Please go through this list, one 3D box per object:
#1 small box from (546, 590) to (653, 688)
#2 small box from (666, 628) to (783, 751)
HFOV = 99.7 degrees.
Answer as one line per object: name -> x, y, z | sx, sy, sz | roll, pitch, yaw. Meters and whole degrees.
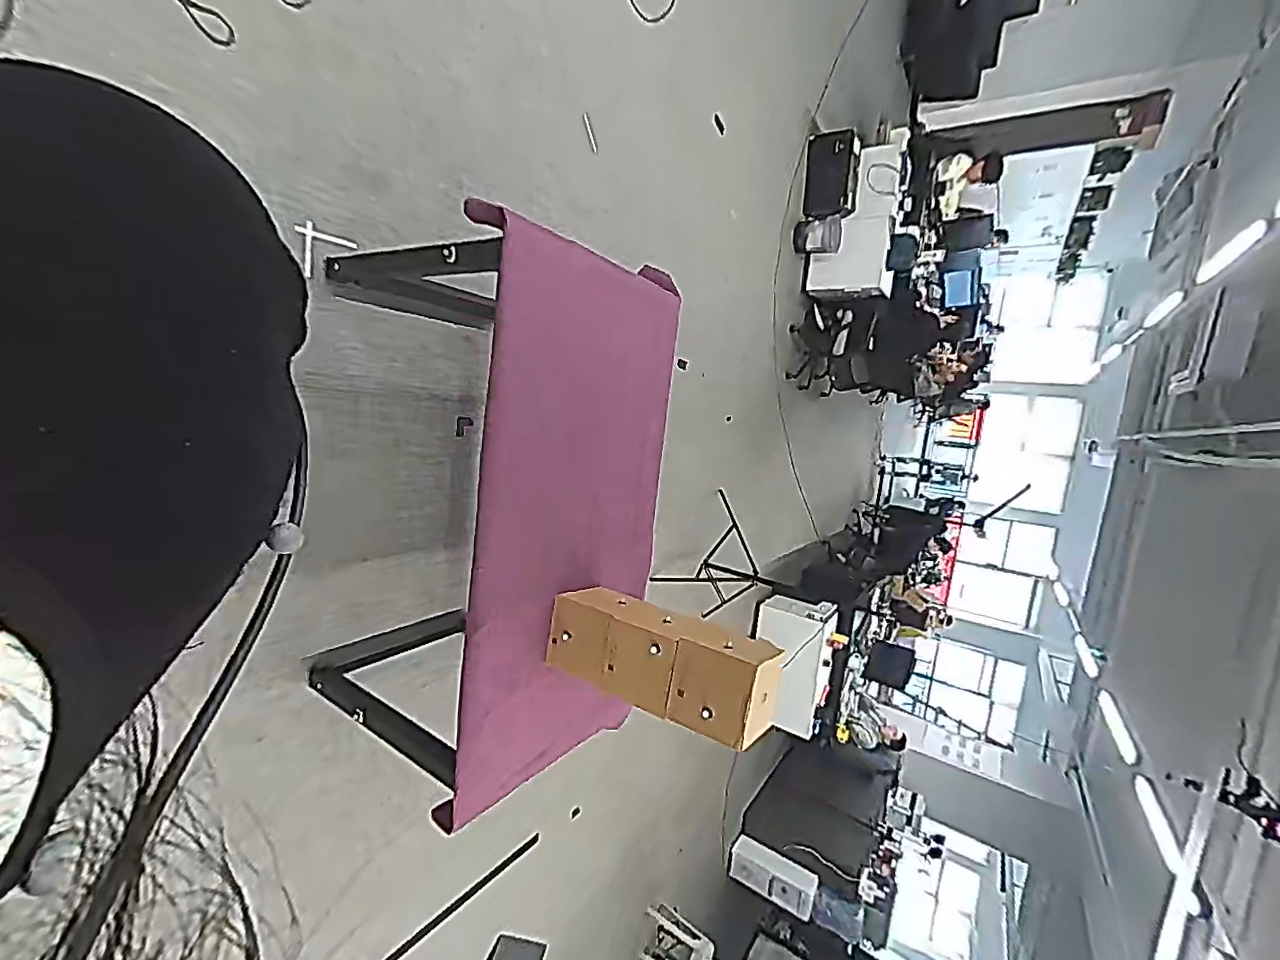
small box -> -0.095, 0.366, 1.284 | 0.179, 0.176, 0.168 | 7, 93, -57
small box -> 0.172, 0.415, 1.102 | 0.179, 0.176, 0.168 | 9, 92, -59
